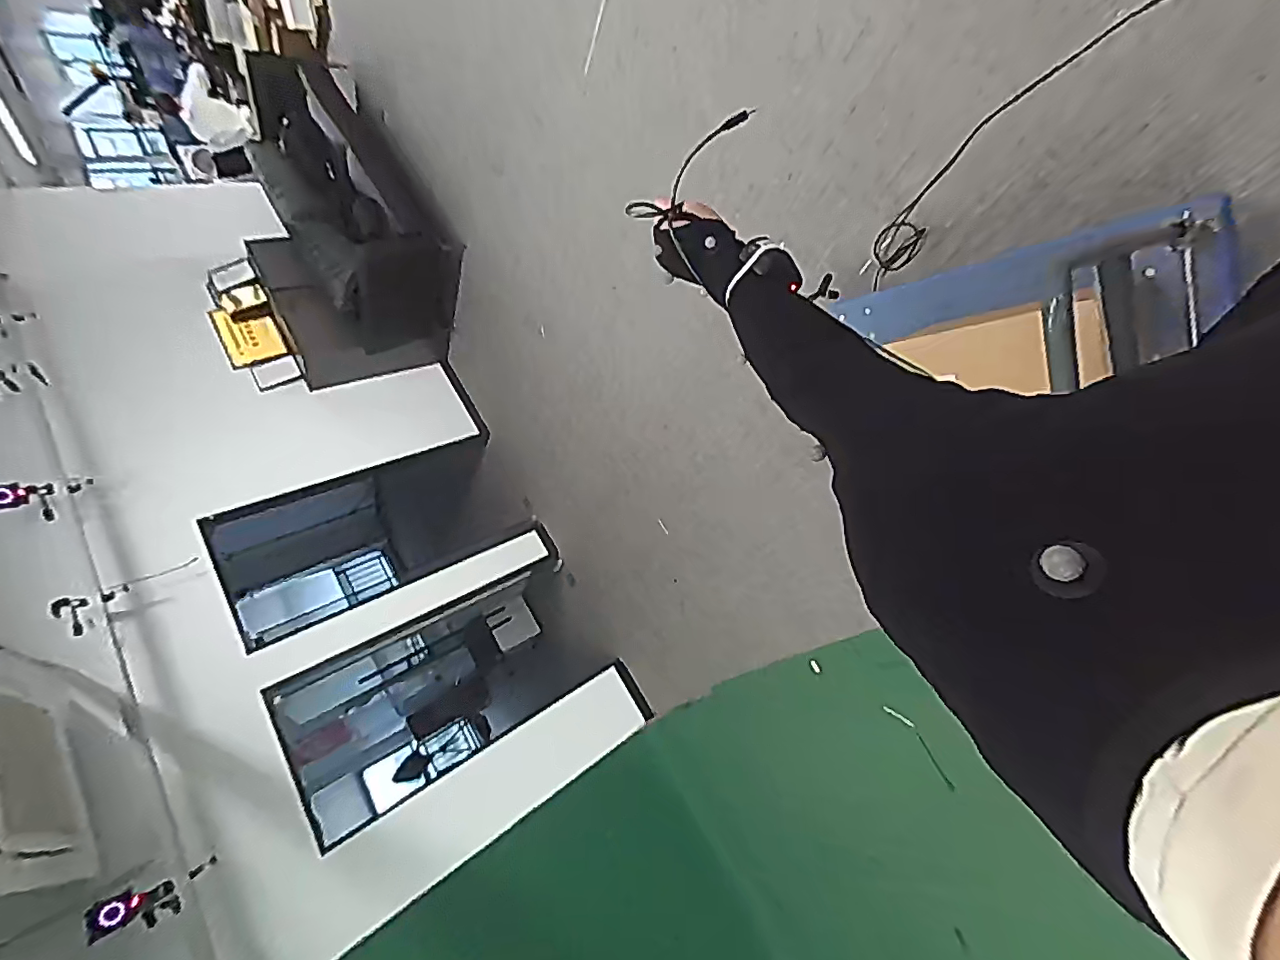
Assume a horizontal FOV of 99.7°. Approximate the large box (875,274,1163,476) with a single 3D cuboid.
[{"bbox_3d":[0.795,-0.206,1.155,0.408,0.320,0.320,0,109,56],"label":"large box"}]
